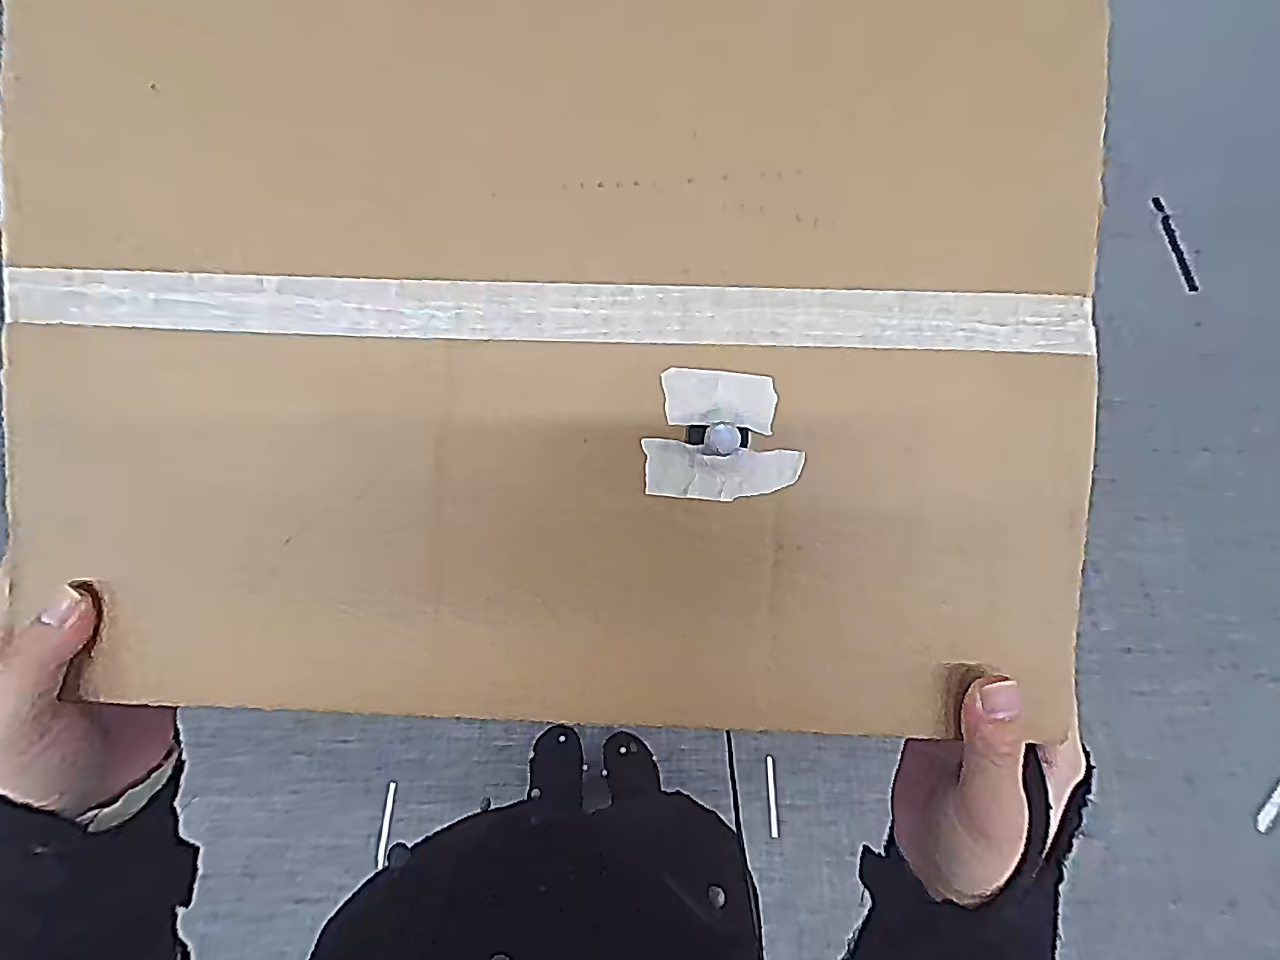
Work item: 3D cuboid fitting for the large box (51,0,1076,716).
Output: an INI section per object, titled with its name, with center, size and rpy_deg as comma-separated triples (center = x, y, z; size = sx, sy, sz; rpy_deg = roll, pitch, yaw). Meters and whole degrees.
[large box]
center = -0.032, -0.062, 0.364
size = 0.408, 0.320, 0.320
rpy_deg = 2, 92, 0
